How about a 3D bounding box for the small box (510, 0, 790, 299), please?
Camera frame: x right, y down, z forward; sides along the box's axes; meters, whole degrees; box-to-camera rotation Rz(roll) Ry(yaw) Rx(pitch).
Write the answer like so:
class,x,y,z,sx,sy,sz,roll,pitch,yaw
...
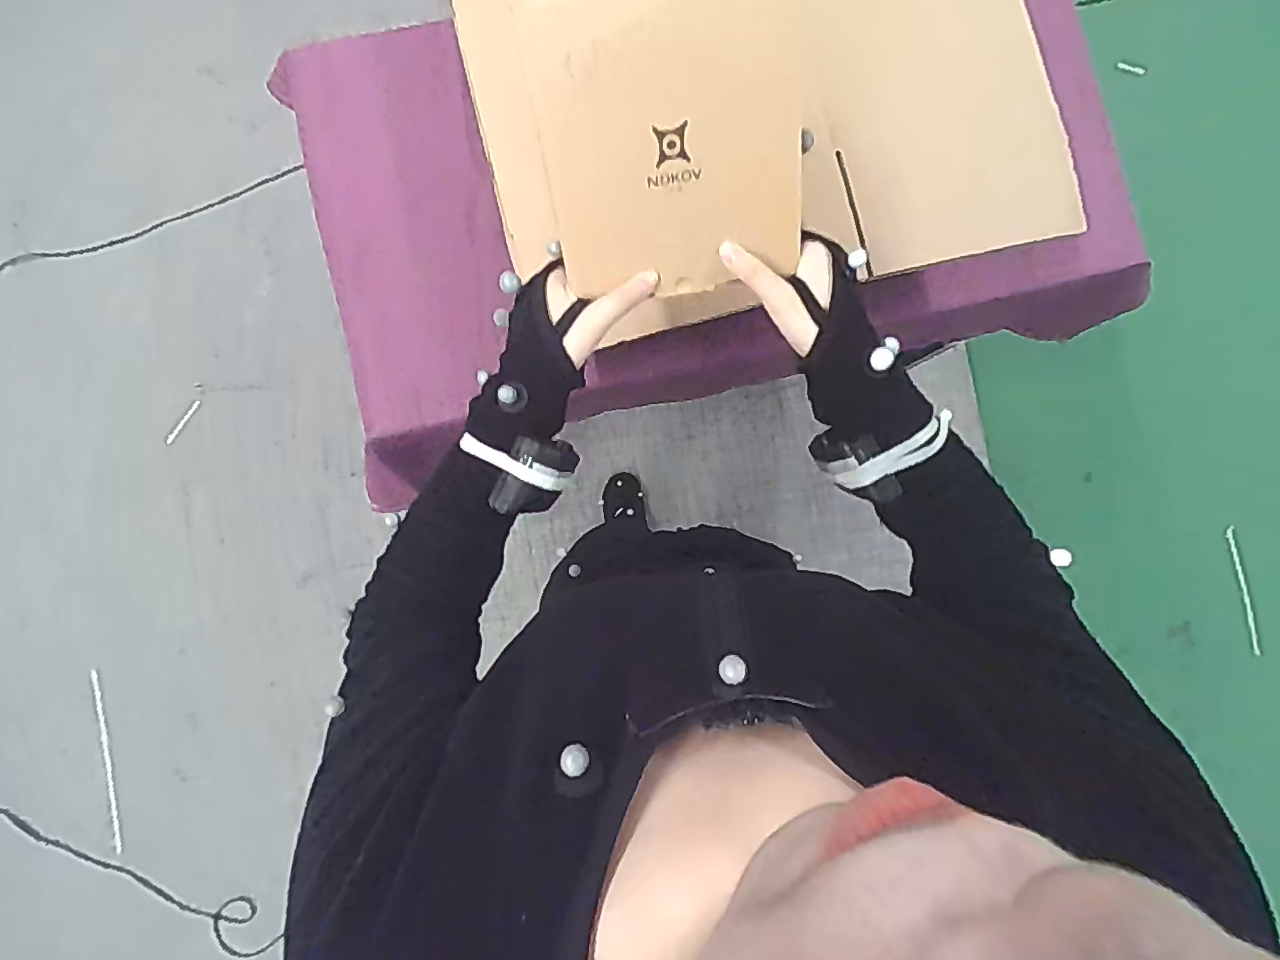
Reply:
class,x,y,z,sx,sy,sz,roll,pitch,yaw
small box,0.014,-0.259,0.419,0.168,0.176,0.179,-8,123,5
